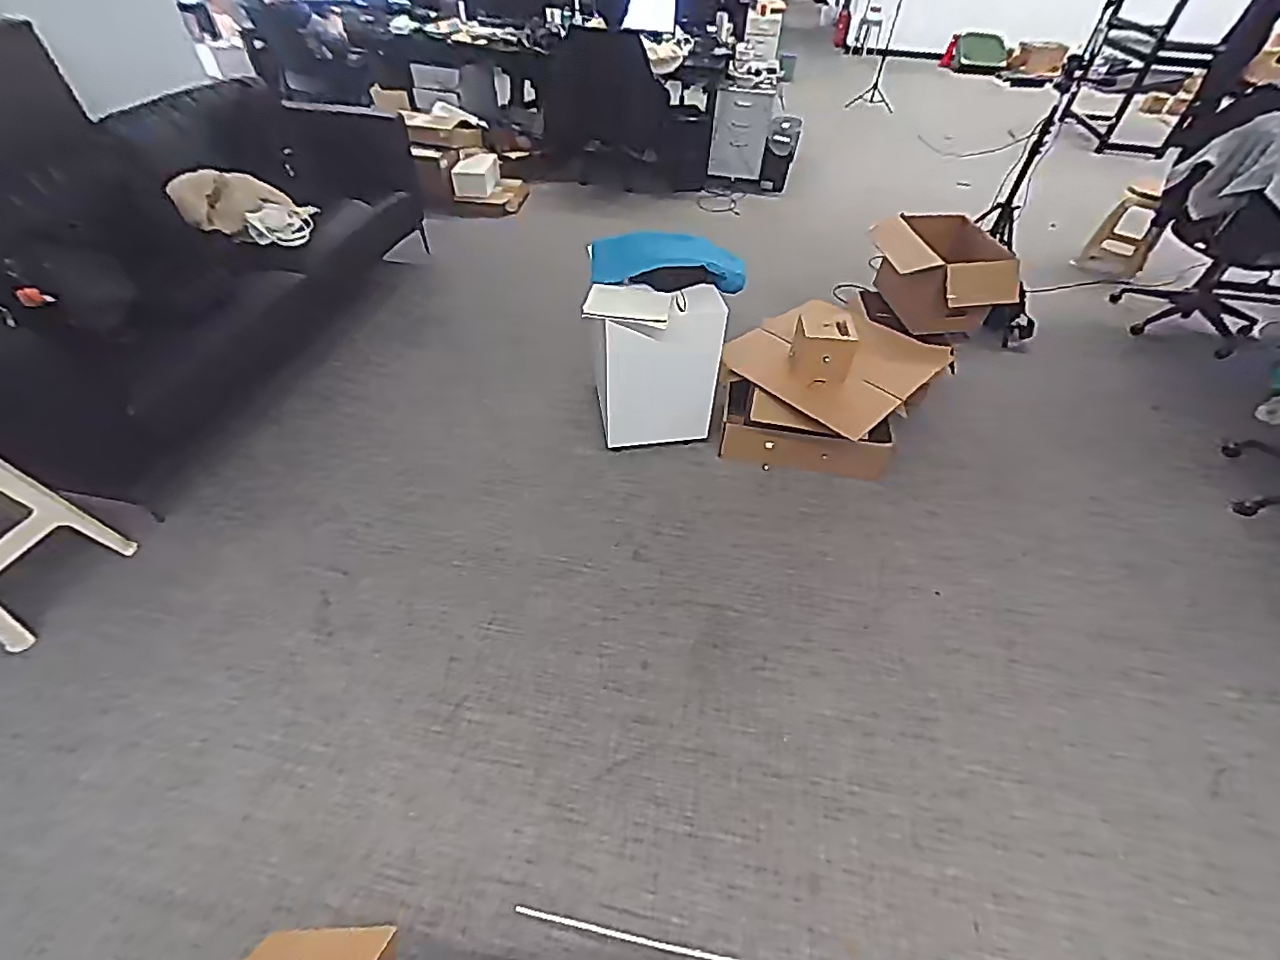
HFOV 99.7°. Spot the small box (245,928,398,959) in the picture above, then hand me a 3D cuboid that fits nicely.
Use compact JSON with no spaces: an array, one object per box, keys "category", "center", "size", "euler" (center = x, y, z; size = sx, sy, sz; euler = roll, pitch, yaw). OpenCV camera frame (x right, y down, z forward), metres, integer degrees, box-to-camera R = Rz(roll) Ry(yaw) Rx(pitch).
[{"category":"small box","center":[-0.402,0.664,0.621],"size":[0.168,0.179,0.176],"euler":[-1,80,-2]}]
